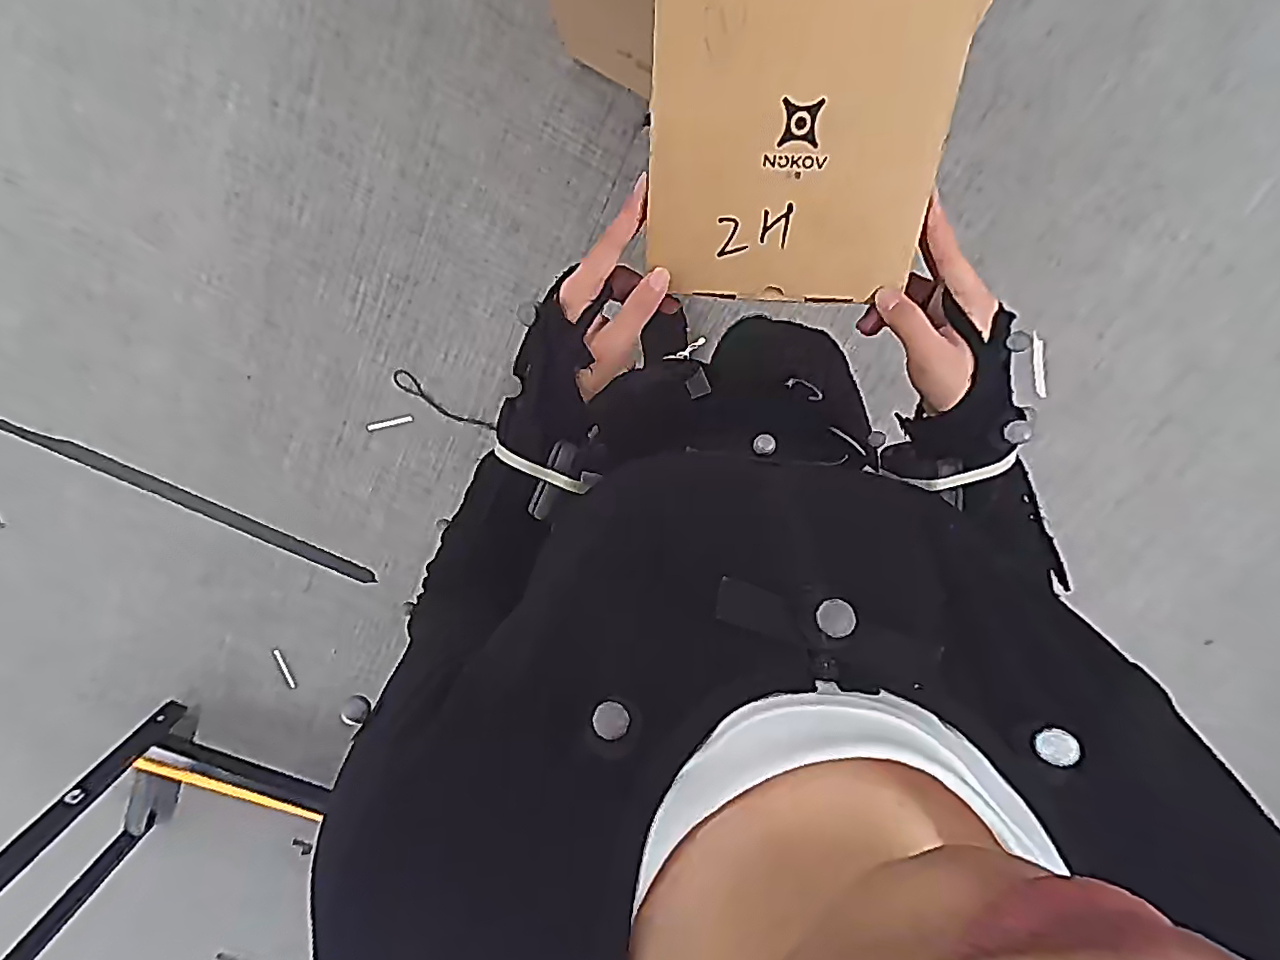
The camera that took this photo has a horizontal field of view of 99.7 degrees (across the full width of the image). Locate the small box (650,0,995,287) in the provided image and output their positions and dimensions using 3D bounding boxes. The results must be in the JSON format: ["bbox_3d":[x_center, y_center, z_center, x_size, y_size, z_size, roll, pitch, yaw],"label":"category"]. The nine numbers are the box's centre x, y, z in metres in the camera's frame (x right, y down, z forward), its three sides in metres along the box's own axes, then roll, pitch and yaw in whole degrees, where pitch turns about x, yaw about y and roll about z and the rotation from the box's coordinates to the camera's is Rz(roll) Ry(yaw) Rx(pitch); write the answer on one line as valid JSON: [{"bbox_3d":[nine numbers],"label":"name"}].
[{"bbox_3d":[0.095,-0.238,0.363,0.168,0.176,0.179,4,119,1],"label":"small box"}]
